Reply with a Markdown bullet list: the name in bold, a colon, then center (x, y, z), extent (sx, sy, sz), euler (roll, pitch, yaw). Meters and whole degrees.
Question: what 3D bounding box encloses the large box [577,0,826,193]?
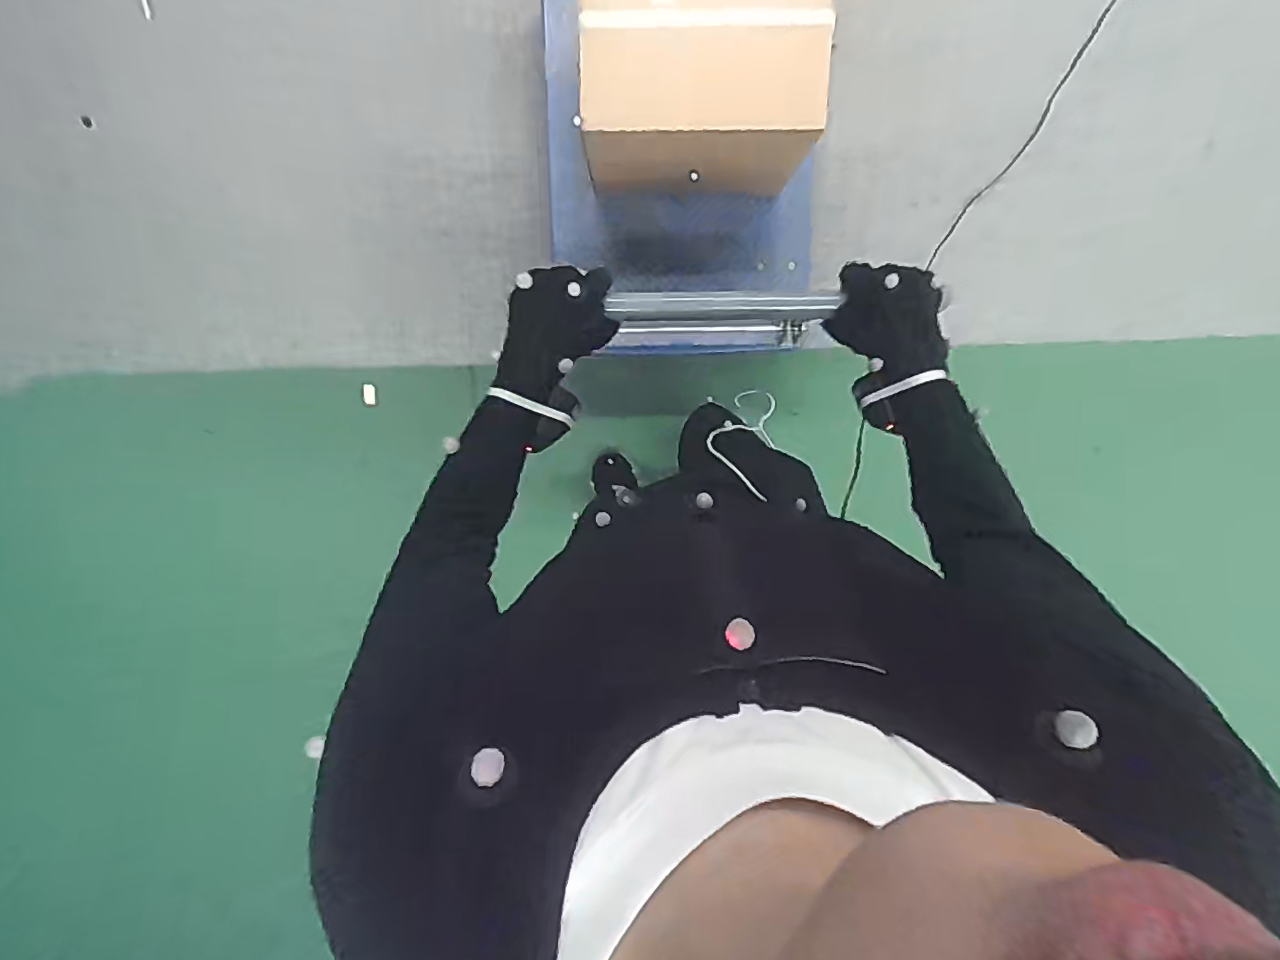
- **large box**: center (0.102, -0.753, 1.010), extent (0.408, 0.320, 0.320), euler (0, 99, 1)
